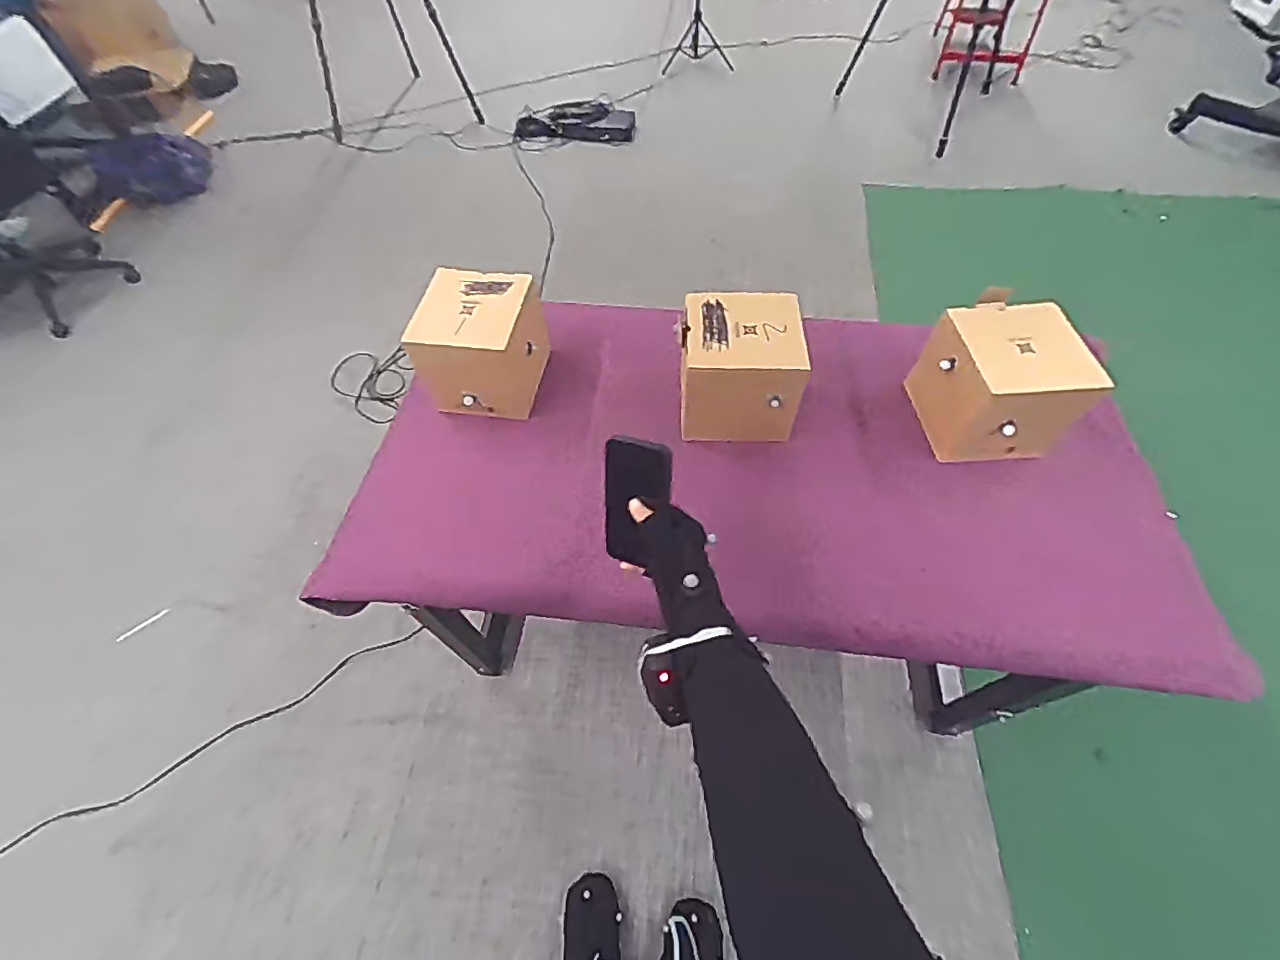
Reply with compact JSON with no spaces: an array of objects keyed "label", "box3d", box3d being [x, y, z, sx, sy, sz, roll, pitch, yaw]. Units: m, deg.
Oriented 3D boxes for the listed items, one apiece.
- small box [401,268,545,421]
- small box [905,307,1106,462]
[{"label":"small box","box3d":[-0.265,-0.226,0.909,0.168,0.176,0.179,7,59,6]},{"label":"small box","box3d":[0.541,-0.139,0.832,0.168,0.176,0.179,-3,56,0]}]
